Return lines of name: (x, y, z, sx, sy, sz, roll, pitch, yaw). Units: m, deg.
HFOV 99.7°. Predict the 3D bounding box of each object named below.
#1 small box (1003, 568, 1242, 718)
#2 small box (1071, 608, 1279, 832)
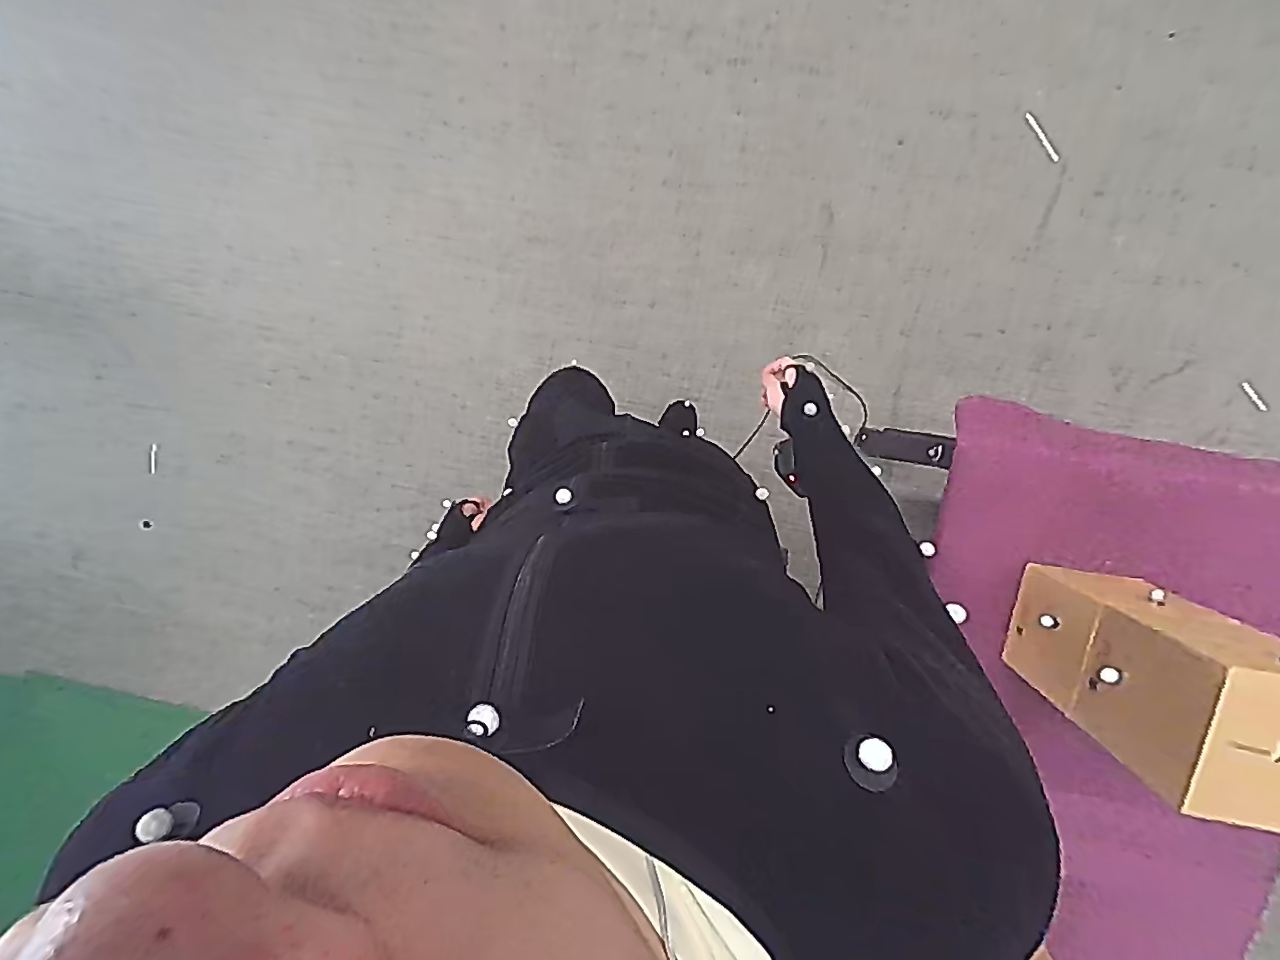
small box: (0.666, 0.235, 0.773, 0.179, 0.176, 0.168, 8, 99, 4)
small box: (0.652, 0.261, 0.612, 0.179, 0.176, 0.168, 9, 99, 5)
